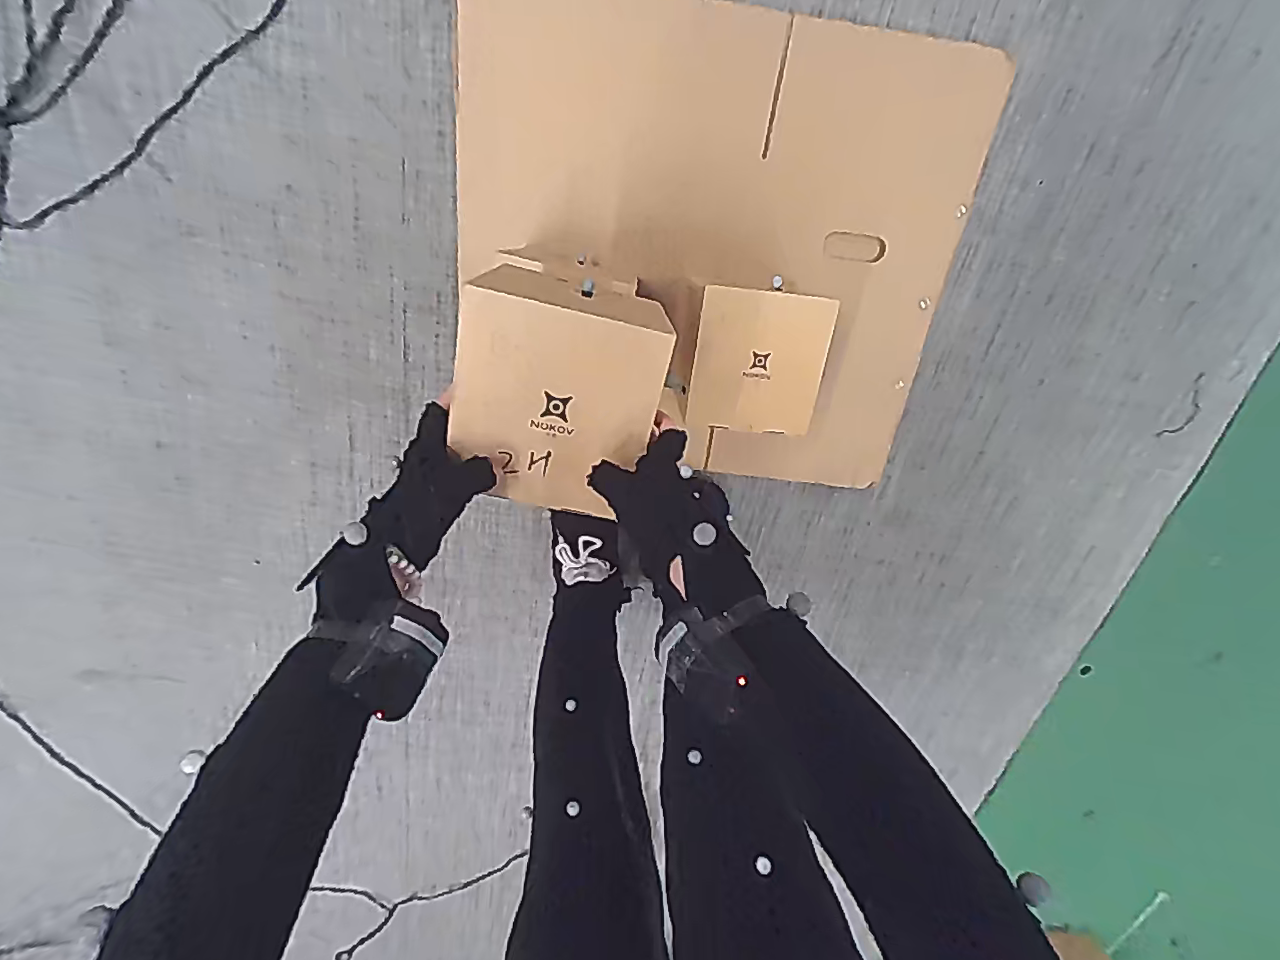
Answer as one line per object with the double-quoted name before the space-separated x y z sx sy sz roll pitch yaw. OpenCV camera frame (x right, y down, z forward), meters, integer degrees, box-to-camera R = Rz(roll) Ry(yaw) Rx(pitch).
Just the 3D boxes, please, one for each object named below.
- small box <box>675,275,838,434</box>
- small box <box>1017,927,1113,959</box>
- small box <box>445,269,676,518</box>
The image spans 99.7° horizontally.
"small box" 0.144 -0.177 0.739 0.168 0.176 0.179 4 115 -4
"small box" 1.186 1.362 1.475 0.179 0.176 0.168 9 114 -6
"small box" -0.075 -0.091 0.519 0.168 0.176 0.179 12 116 -9
